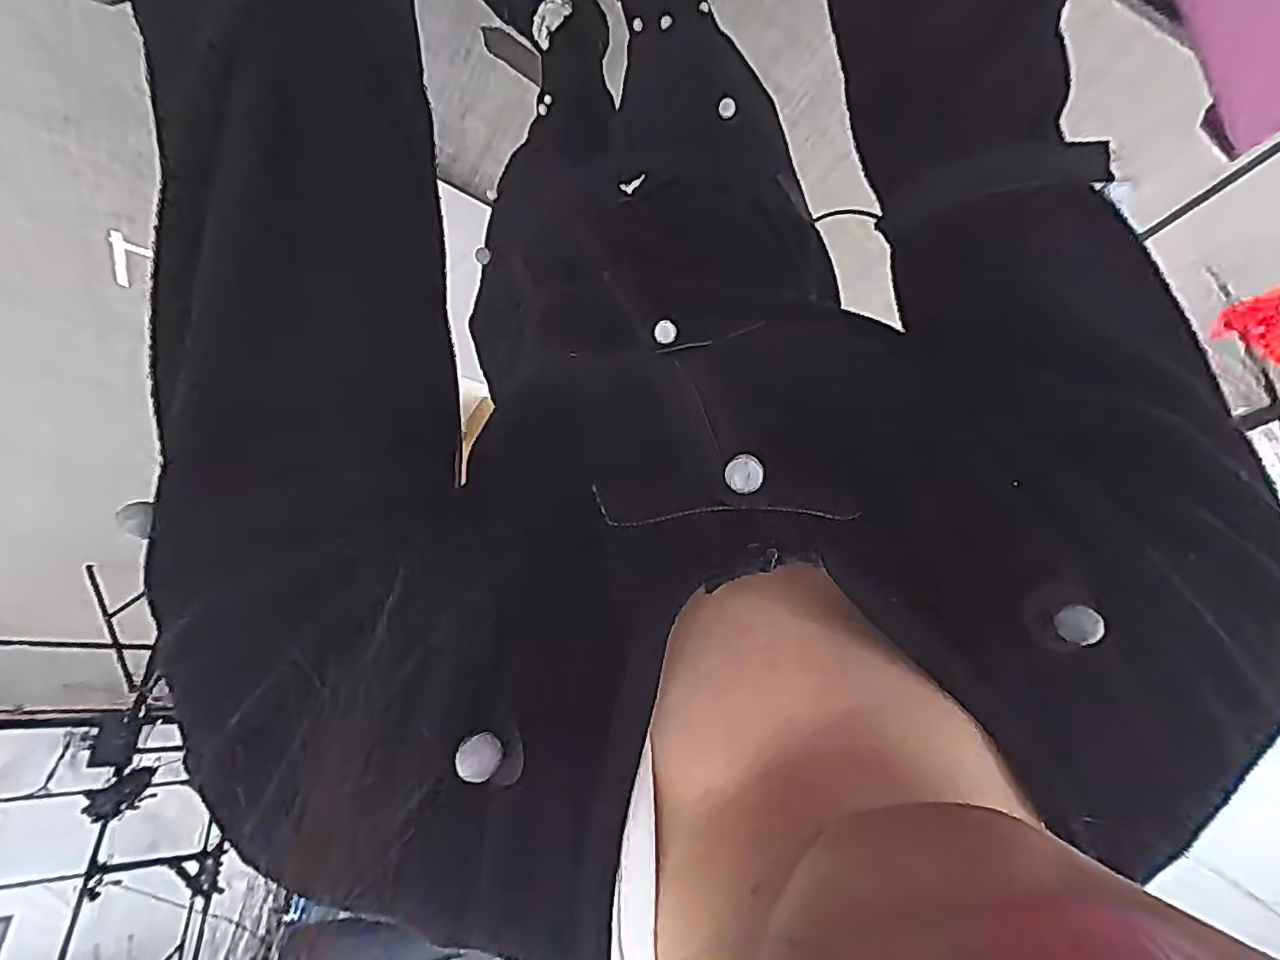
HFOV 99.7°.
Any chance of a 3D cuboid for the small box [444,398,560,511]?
[{"bbox_3d":[-0.271,-0.032,1.071,0.168,0.176,0.179,15,144,-35],"label":"small box"}]
